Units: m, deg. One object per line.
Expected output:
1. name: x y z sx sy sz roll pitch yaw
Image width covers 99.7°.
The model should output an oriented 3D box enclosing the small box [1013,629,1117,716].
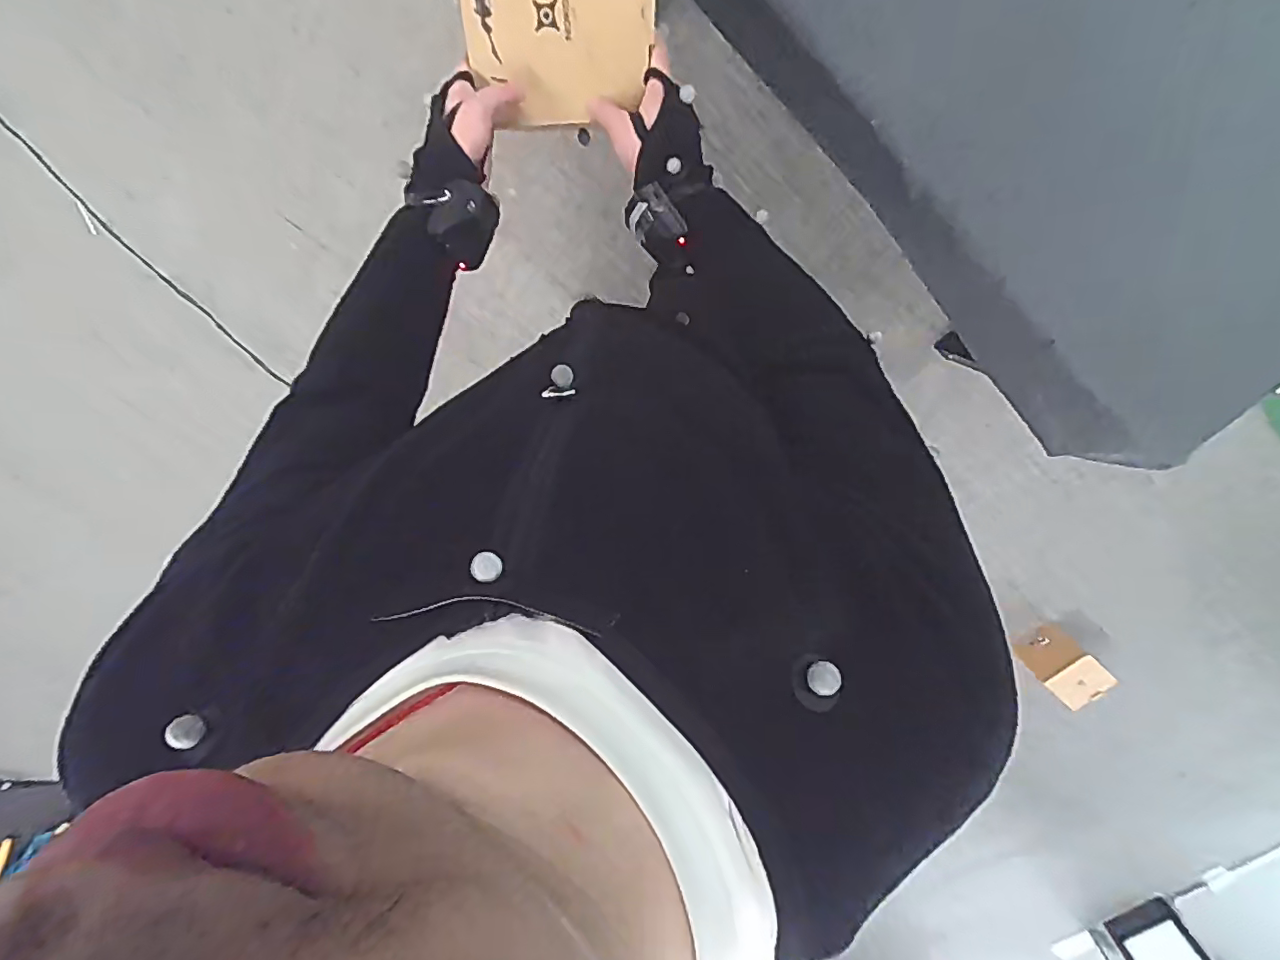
1. small box: 1.388 0.625 1.777 0.179 0.176 0.168 40 107 -14

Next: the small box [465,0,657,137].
1. small box: -0.070 -0.459 0.565 0.179 0.176 0.168 0 122 2
